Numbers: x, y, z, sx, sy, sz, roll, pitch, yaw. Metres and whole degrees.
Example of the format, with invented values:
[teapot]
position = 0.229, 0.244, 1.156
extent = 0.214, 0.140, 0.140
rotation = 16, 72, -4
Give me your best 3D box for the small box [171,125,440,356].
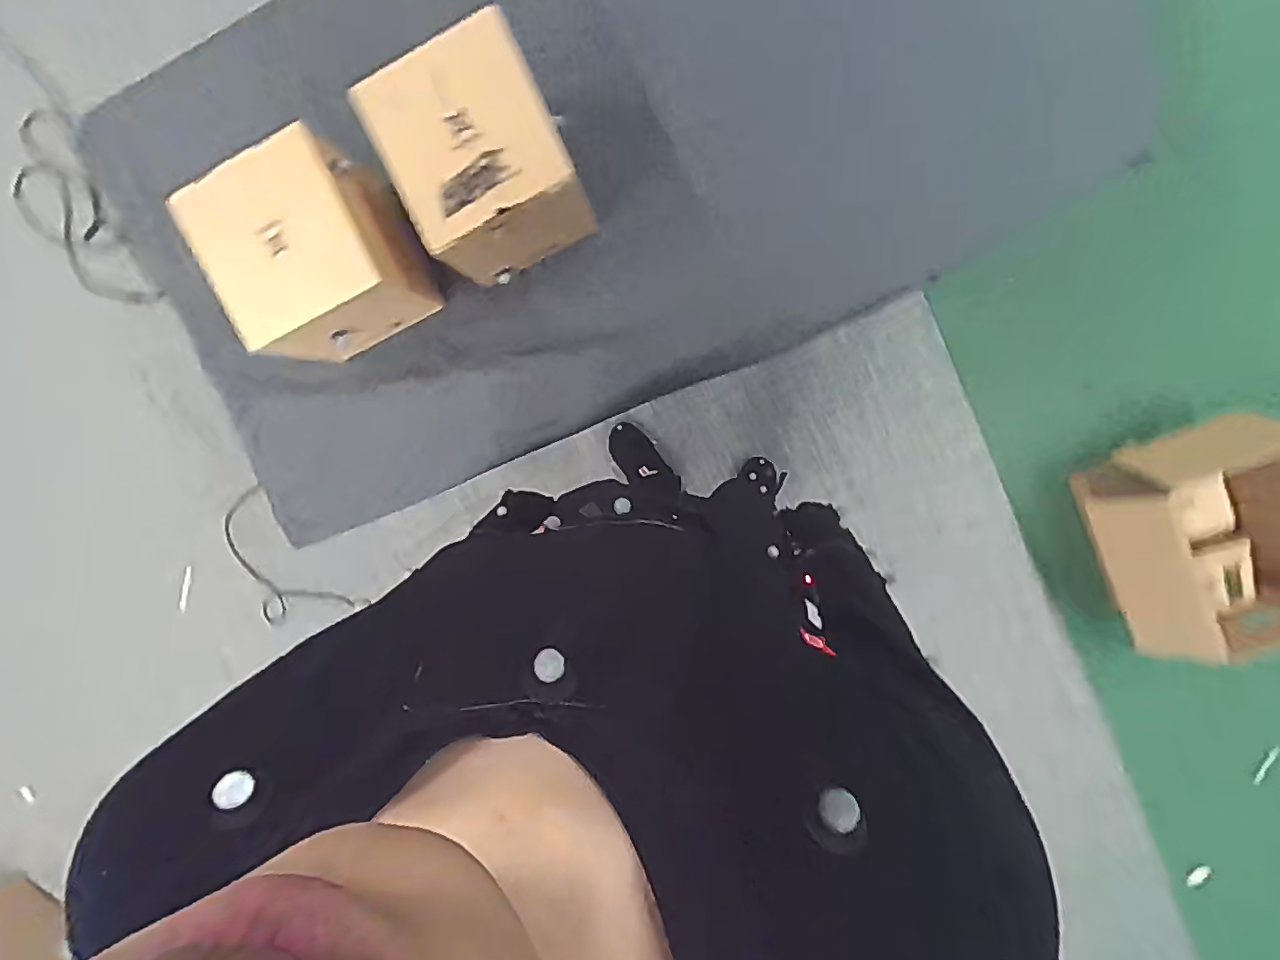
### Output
[small box]
position = -0.370, -0.258, 0.635
extent = 0.168, 0.176, 0.179
rotation = -26, 96, 7
